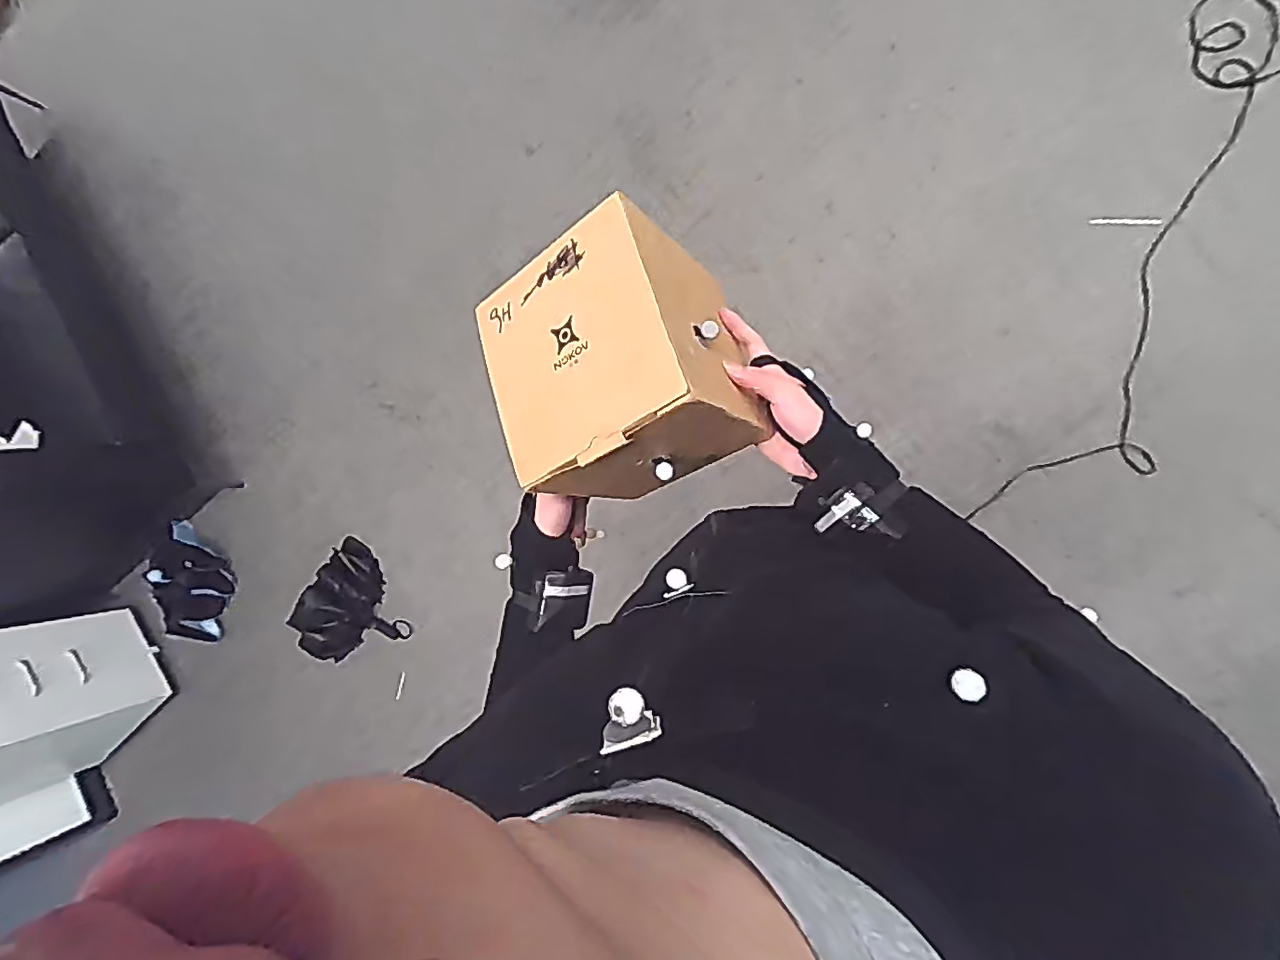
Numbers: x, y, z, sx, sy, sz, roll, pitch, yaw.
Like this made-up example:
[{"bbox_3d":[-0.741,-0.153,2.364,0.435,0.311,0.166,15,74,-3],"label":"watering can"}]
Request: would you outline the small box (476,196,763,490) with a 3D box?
[{"bbox_3d":[-0.011,-0.100,0.486,0.168,0.176,0.179,-27,74,28],"label":"small box"}]
